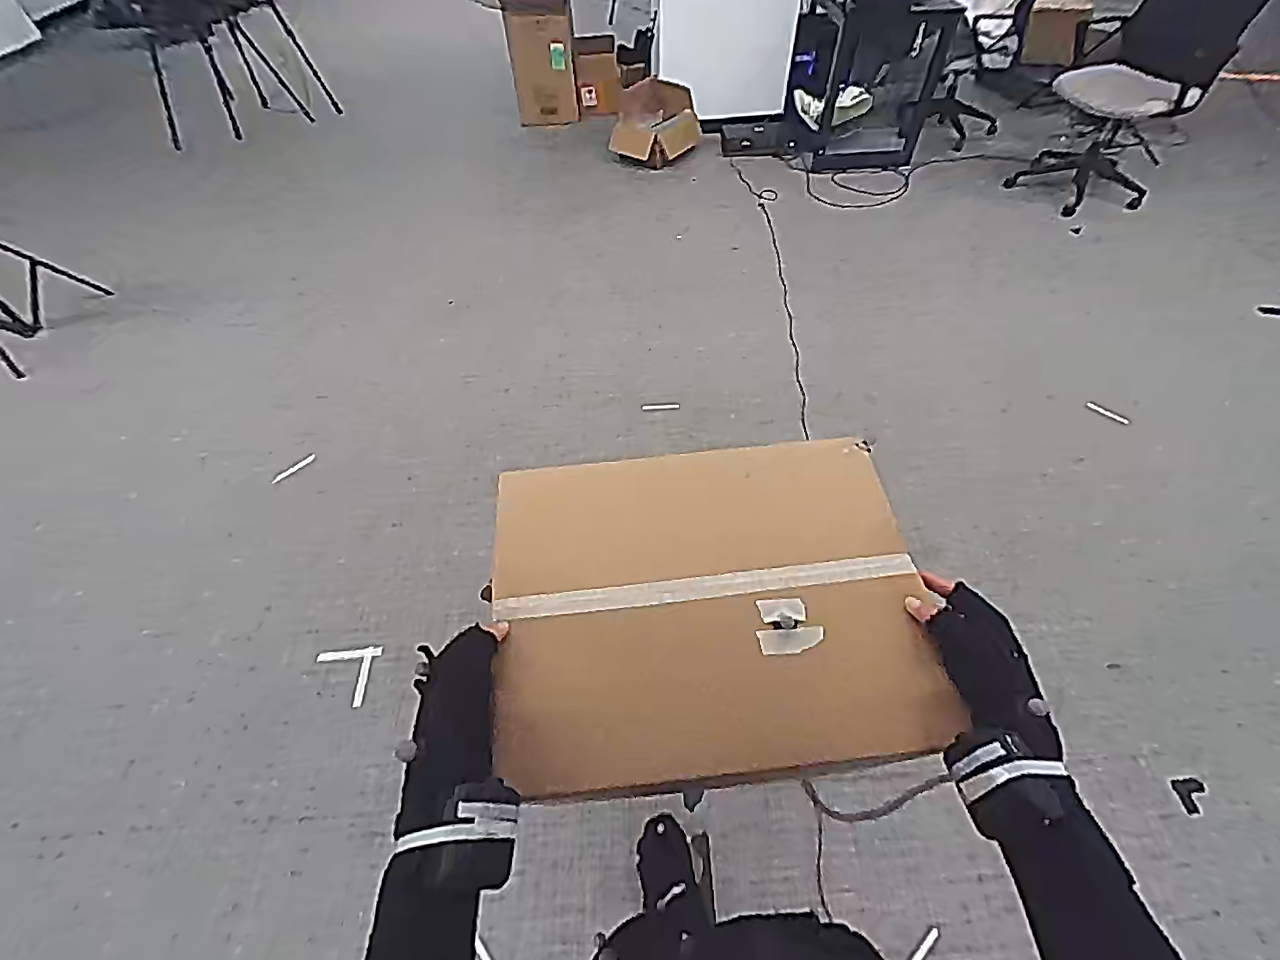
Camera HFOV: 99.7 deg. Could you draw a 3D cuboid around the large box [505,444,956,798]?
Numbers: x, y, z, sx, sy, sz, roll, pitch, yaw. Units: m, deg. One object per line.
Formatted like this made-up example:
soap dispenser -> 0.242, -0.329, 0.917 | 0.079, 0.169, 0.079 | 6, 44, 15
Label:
large box -> 0.067, 0.187, 0.666 | 0.408, 0.320, 0.320 | -6, 59, -2
